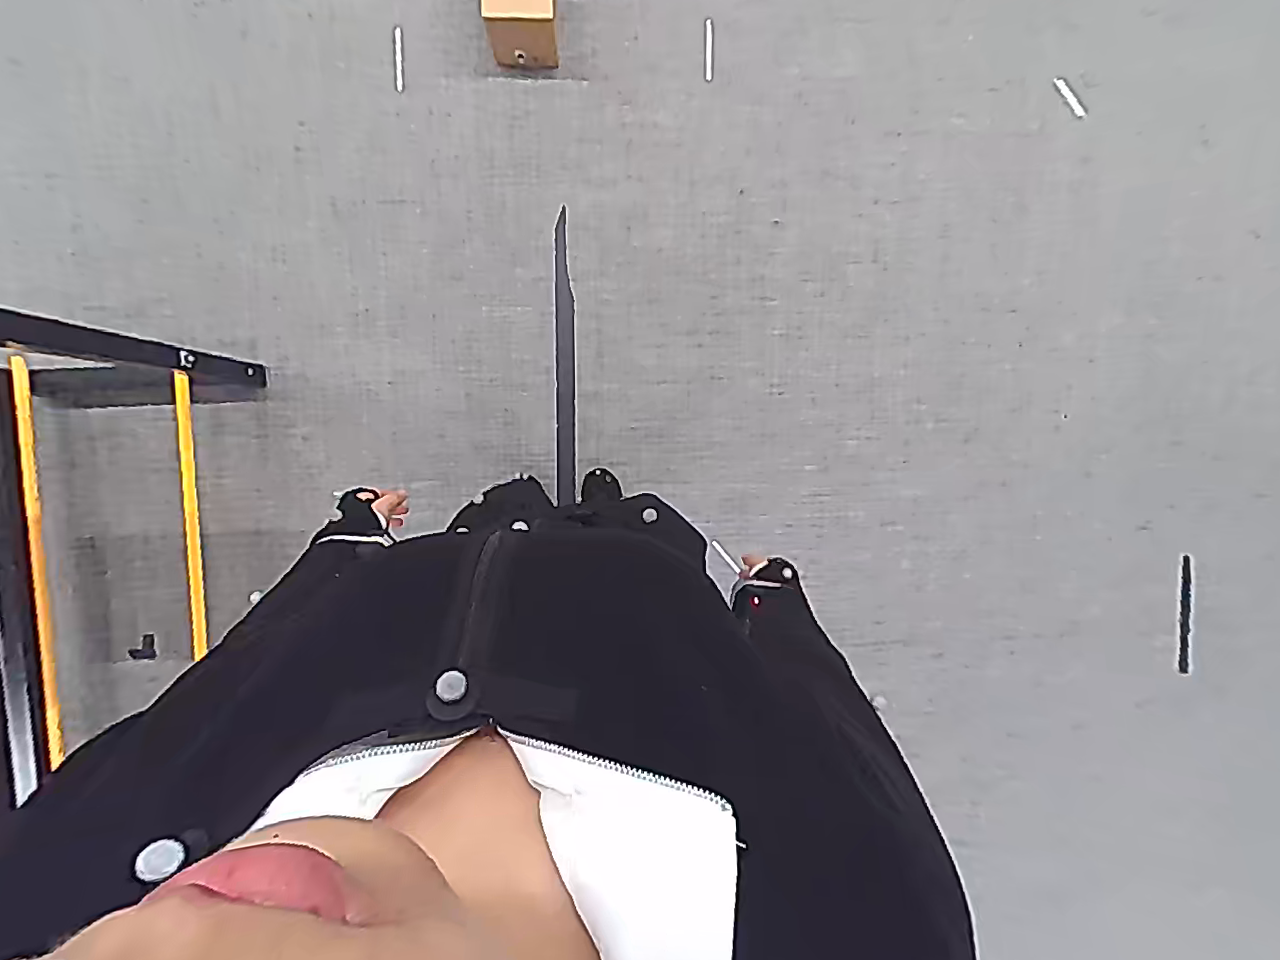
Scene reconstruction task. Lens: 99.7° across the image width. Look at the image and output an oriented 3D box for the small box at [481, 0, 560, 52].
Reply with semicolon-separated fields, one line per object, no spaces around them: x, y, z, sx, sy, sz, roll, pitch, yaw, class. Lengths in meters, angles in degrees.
-0.273;-1.122;1.225;0.168;0.176;0.179;-2;96;-3;small box
